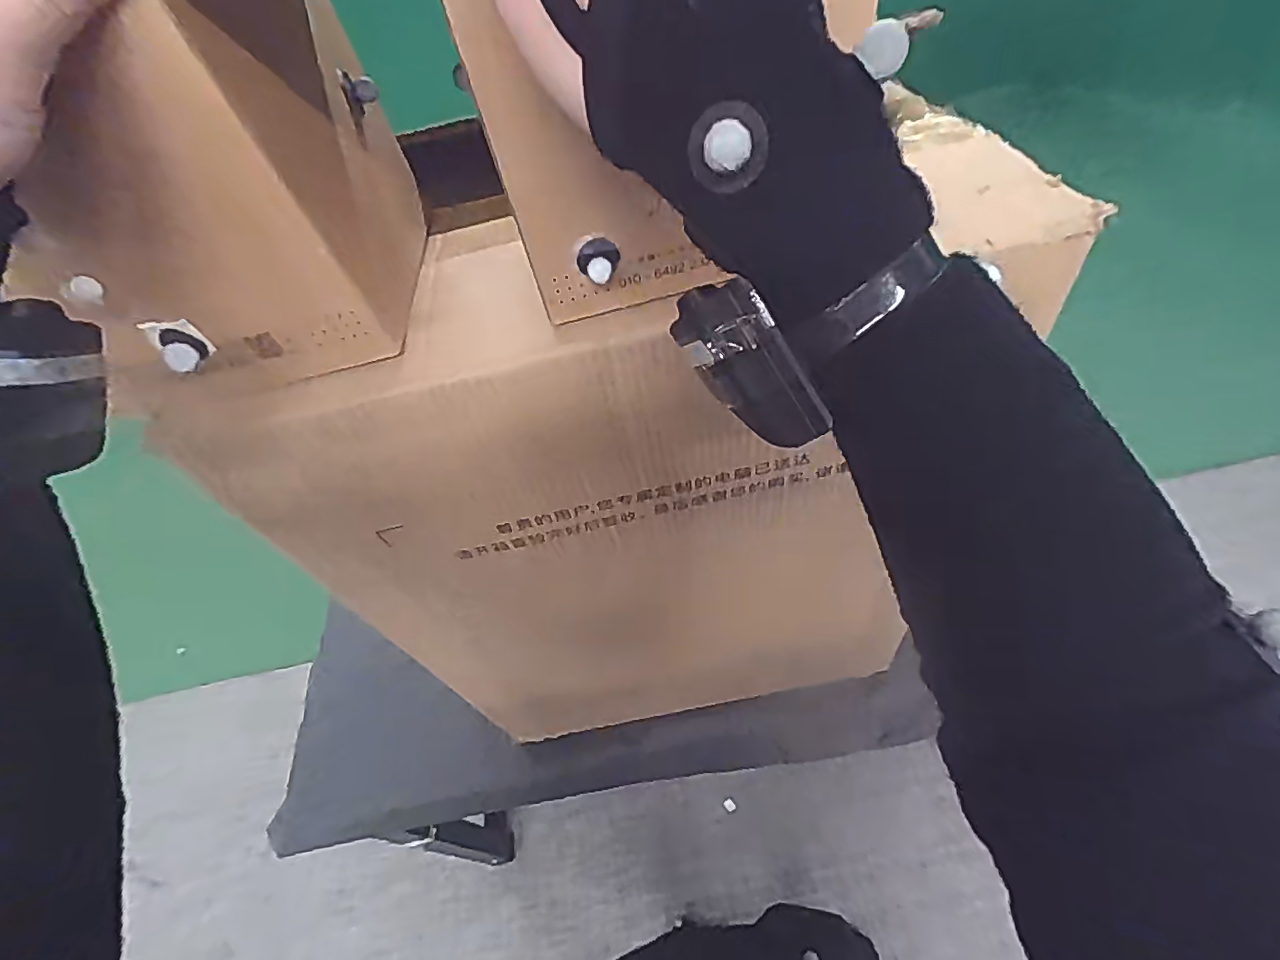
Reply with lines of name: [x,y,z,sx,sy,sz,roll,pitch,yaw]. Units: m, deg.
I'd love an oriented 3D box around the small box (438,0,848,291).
small box: [-0.001,-0.220,0.289,0.168,0.176,0.179,-15,50,-1]

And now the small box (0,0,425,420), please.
small box: [-0.236,-0.163,0.294,0.168,0.176,0.179,-14,52,2]
